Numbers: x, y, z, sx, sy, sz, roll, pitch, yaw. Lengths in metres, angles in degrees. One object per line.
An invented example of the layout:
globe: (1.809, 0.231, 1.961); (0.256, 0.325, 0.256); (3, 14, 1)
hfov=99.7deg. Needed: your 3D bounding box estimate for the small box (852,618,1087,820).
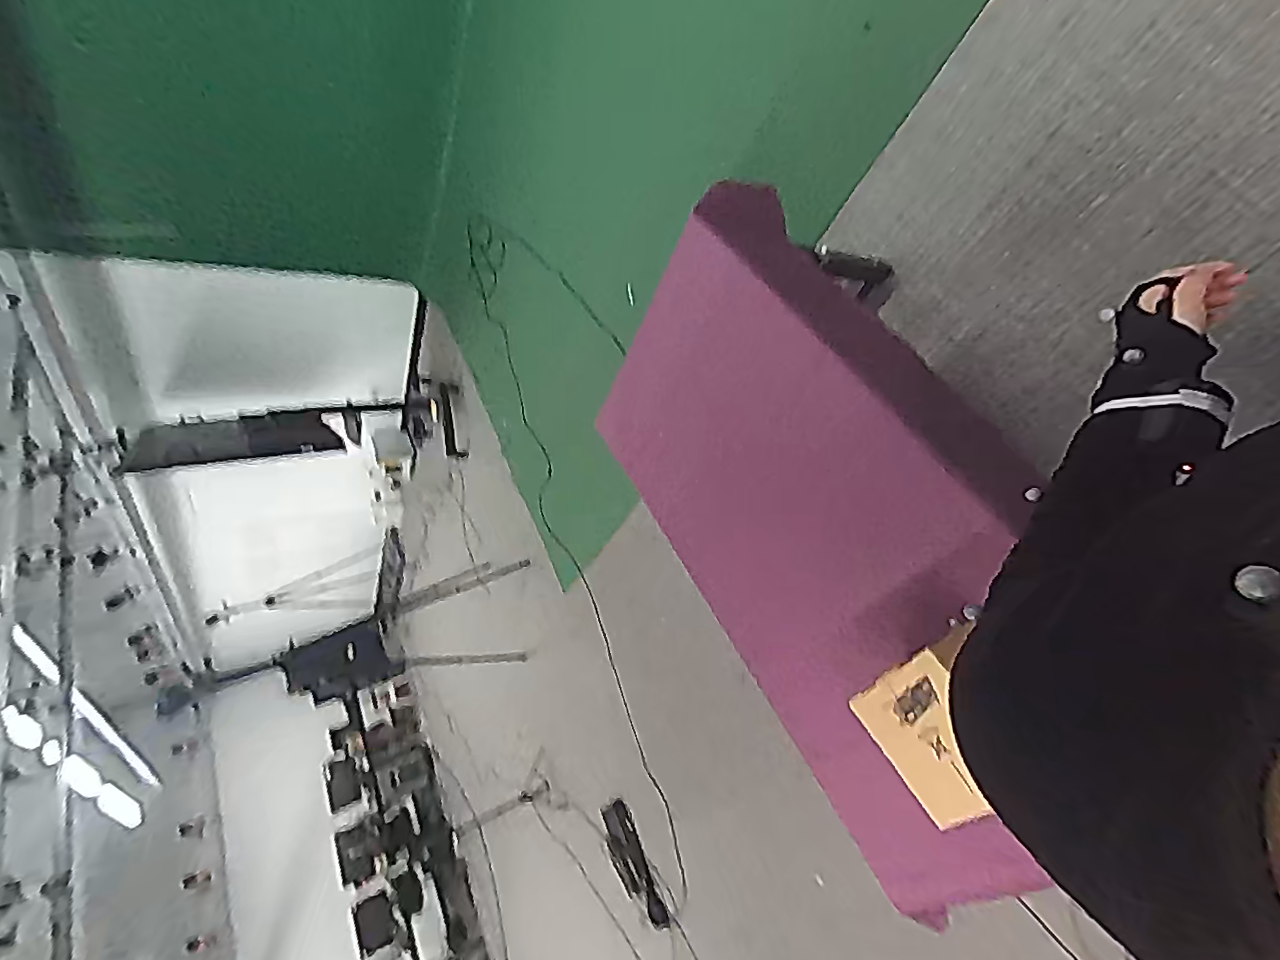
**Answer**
small box: (0.434, 0.305, 0.722); (0.179, 0.176, 0.168); (55, 138, 28)
